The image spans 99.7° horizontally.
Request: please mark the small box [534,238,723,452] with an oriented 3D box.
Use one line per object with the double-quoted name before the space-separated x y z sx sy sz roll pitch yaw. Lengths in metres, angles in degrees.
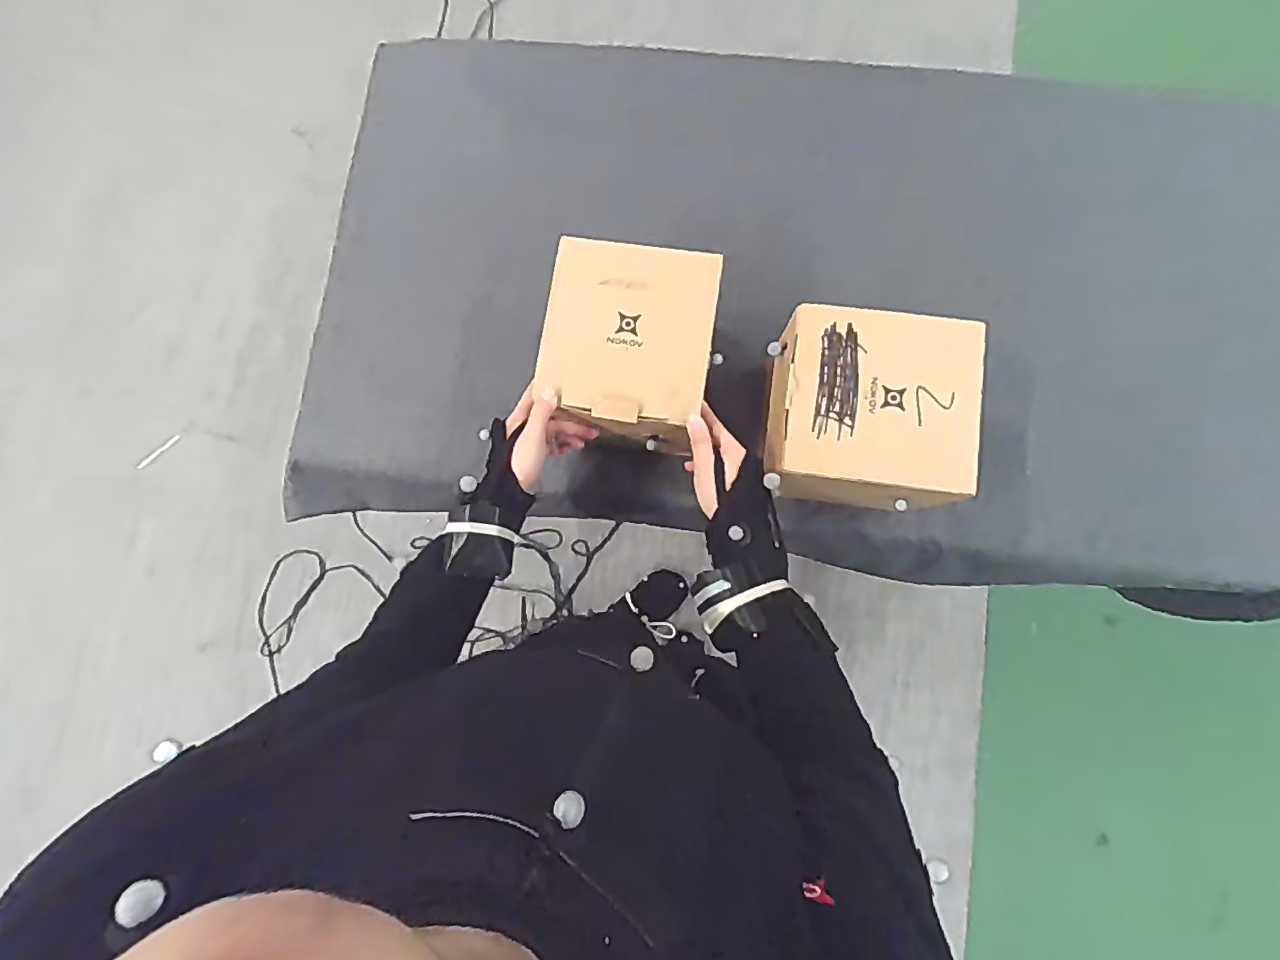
"small box" -0.006 -0.136 0.603 0.168 0.176 0.179 8 82 3
